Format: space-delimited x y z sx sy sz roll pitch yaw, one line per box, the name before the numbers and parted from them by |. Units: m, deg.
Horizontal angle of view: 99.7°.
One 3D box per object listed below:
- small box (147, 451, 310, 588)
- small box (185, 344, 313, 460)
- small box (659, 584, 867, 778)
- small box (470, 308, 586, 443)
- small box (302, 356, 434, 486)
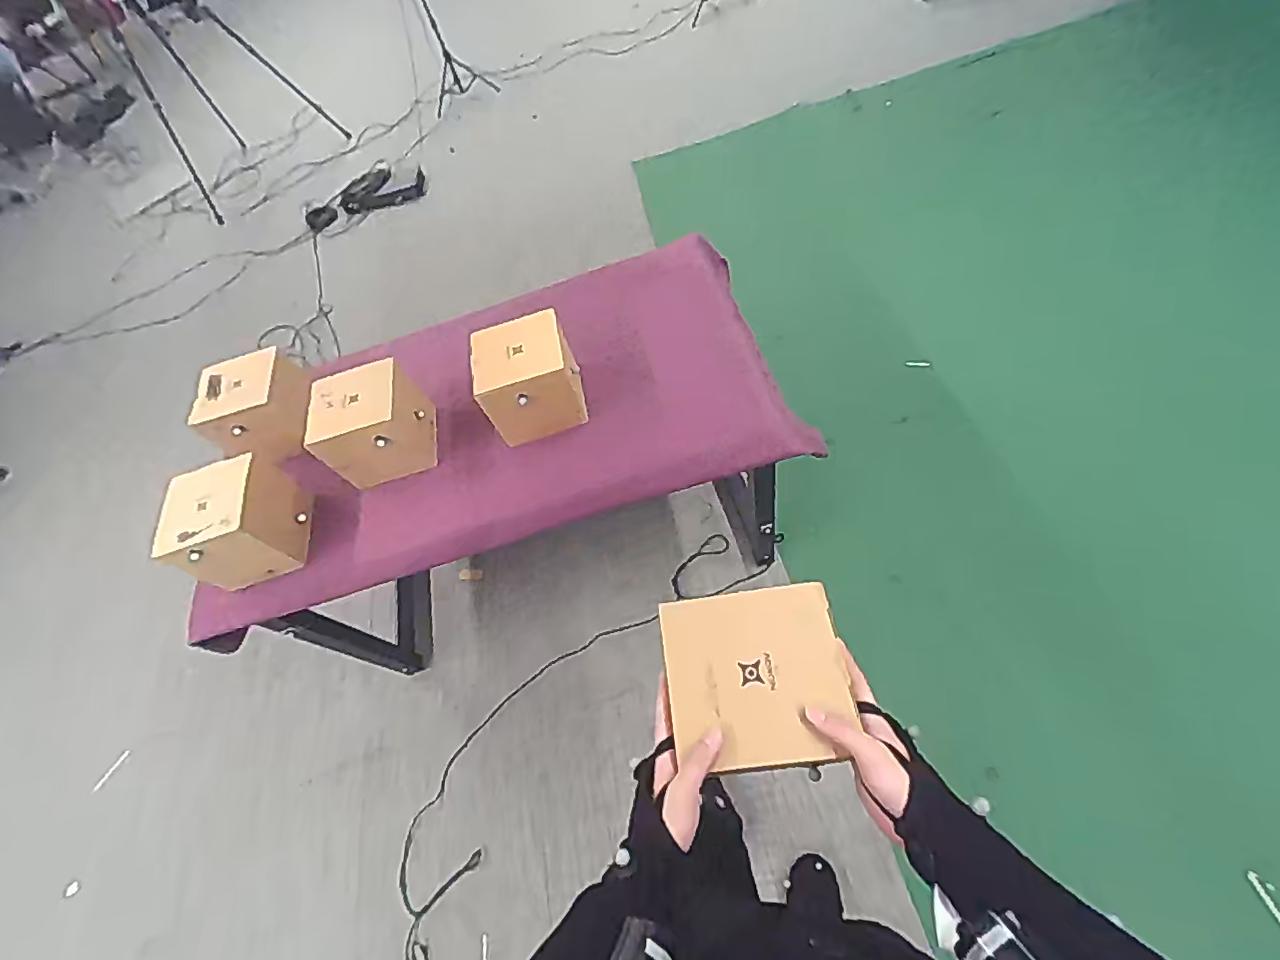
small box | -0.760 0.079 1.024 0.168 0.176 0.179 -18 57 2
small box | -0.823 -0.159 1.178 0.179 0.176 0.168 -16 59 2
small box | 0.122 0.226 0.593 0.179 0.176 0.168 -9 59 6
small box | -0.215 -0.200 1.067 0.179 0.176 0.168 -17 59 4
small box | -0.532 -0.113 1.085 0.179 0.176 0.168 -16 58 3
